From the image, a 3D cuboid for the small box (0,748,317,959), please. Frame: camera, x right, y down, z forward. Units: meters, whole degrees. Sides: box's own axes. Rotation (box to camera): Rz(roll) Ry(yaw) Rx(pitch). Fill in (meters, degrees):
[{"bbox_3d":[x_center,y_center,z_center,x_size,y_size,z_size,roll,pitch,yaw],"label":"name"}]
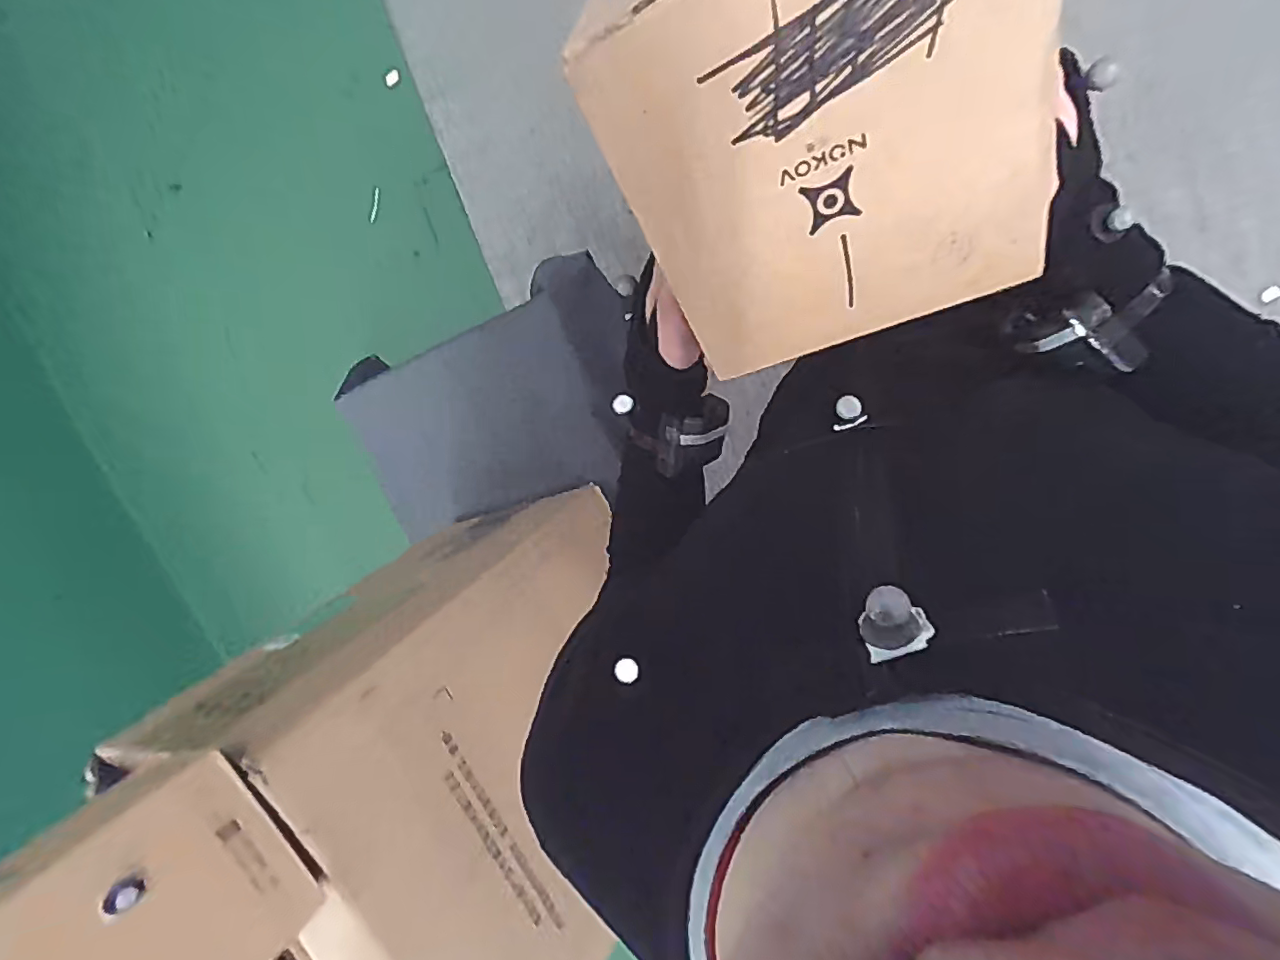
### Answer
[{"bbox_3d":[-0.400,0.341,0.431,0.179,0.176,0.168,-24,99,32],"label":"small box"}]
